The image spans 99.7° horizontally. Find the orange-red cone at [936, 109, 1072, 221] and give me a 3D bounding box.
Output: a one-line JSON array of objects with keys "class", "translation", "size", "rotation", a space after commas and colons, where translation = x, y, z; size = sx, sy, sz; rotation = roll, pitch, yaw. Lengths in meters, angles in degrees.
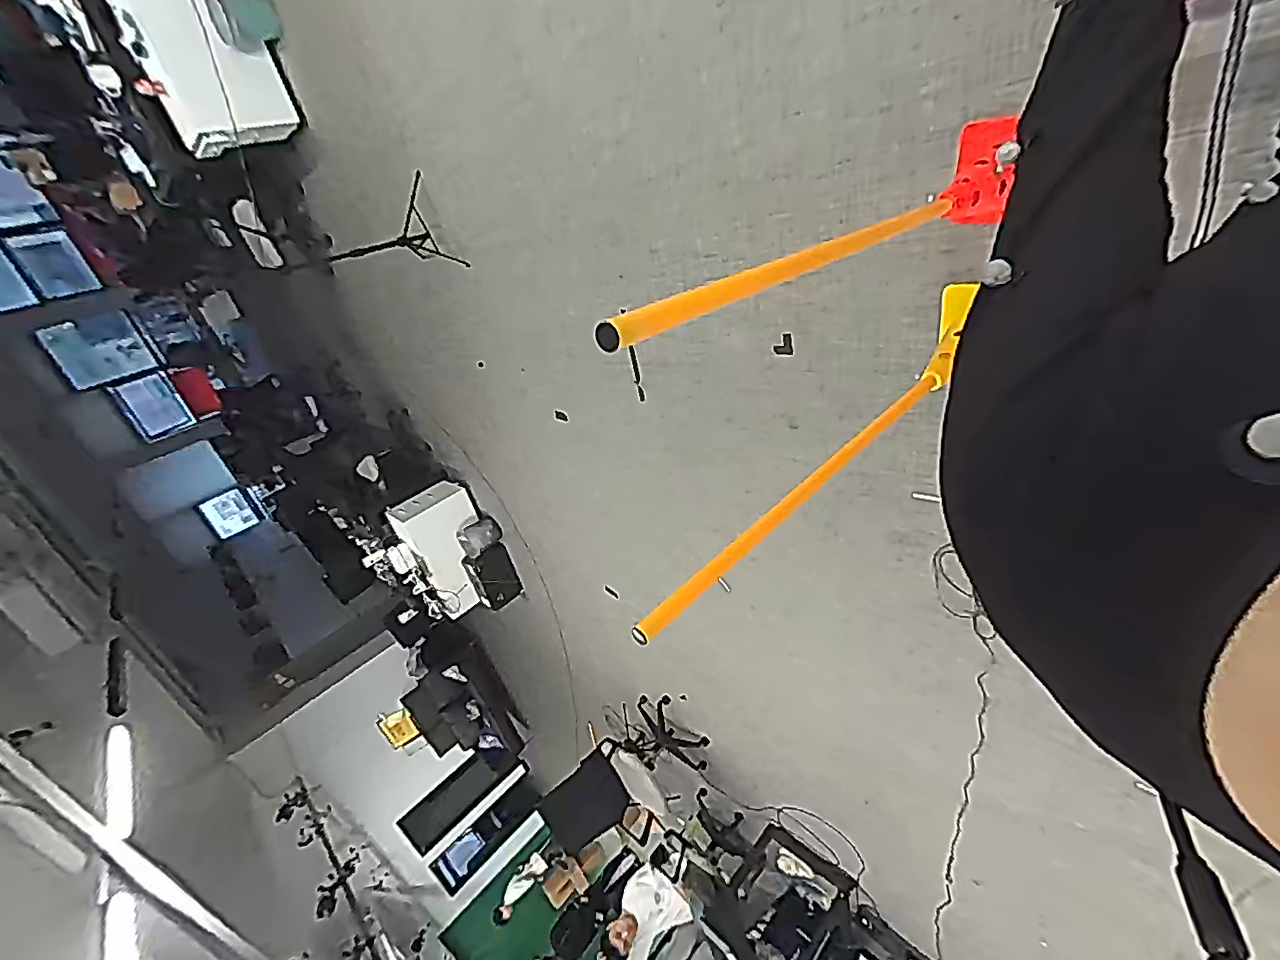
[{"class": "orange-red cone", "translation": [0.648, -0.571, 1.034], "size": [0.198, 0.360, 0.199], "rotation": [22, 133, 38]}]
